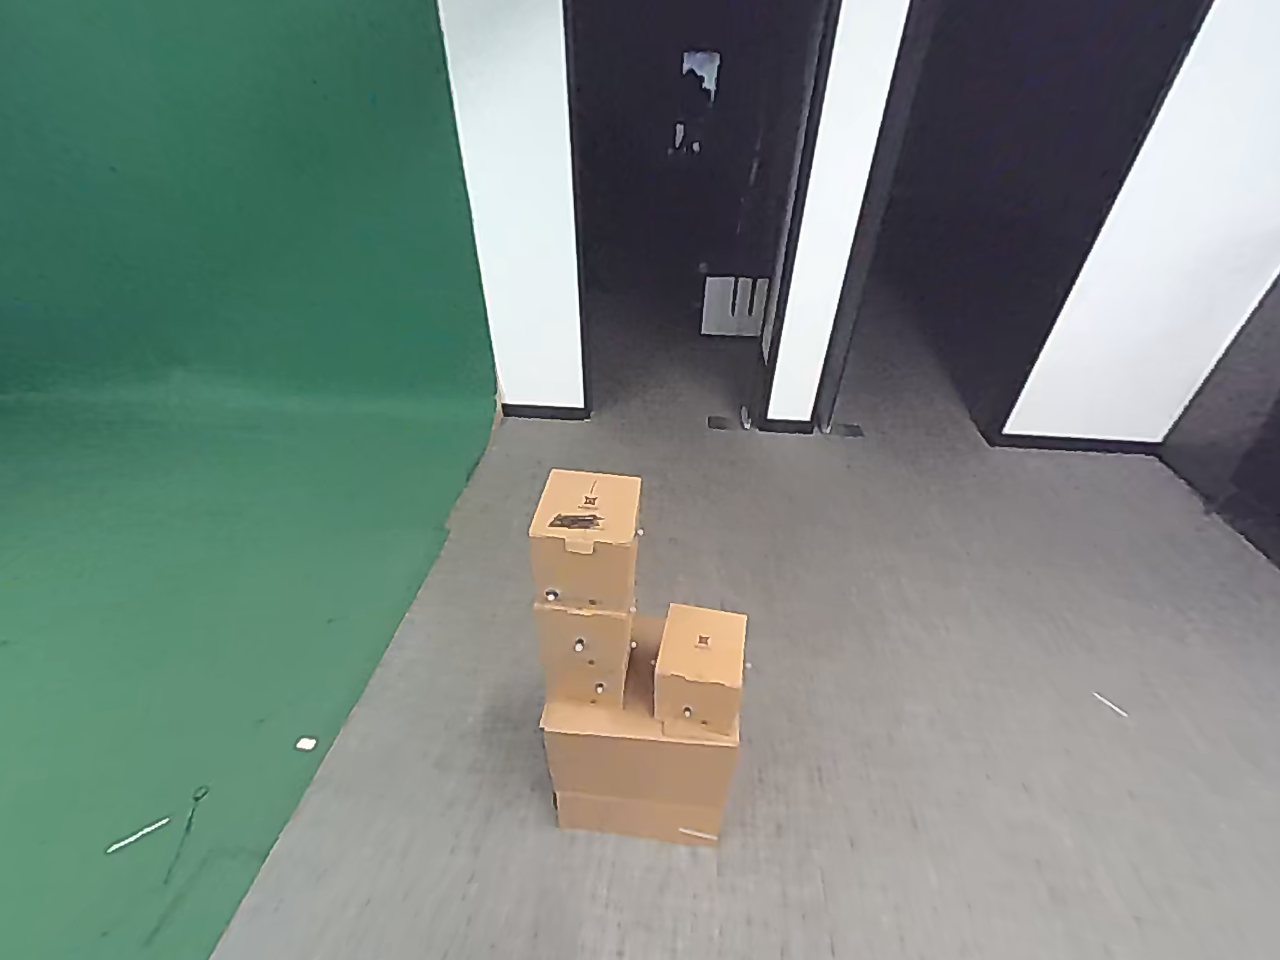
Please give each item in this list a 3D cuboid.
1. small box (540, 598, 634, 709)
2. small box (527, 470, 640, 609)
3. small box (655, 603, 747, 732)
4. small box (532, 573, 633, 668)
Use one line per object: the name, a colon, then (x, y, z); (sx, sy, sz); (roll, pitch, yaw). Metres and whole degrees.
small box: (-0.106, 0.363, 1.157); (0.168, 0.176, 0.179); (7, 38, 4)
small box: (-0.092, 0.105, 0.954); (0.168, 0.176, 0.179); (6, 37, 2)
small box: (0.125, 0.388, 1.126); (0.168, 0.176, 0.179); (7, 38, 10)
small box: (-0.103, 0.240, 1.048); (0.168, 0.176, 0.179); (6, 39, 2)
